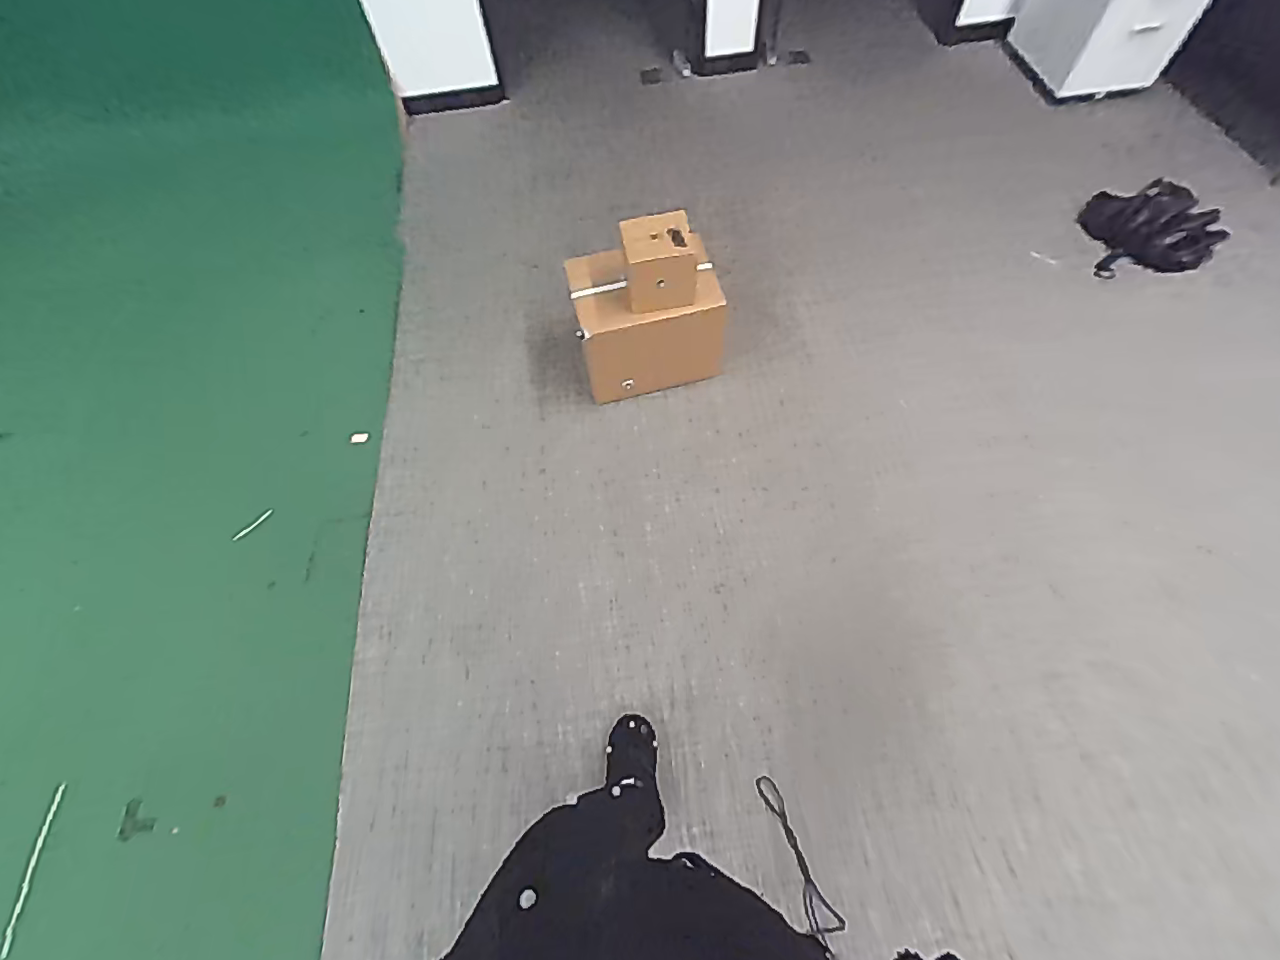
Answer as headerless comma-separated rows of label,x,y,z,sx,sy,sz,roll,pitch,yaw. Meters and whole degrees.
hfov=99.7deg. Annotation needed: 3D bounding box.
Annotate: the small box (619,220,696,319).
small box,0.045,-0.555,1.439,0.179,0.176,0.168,-10,62,-2
